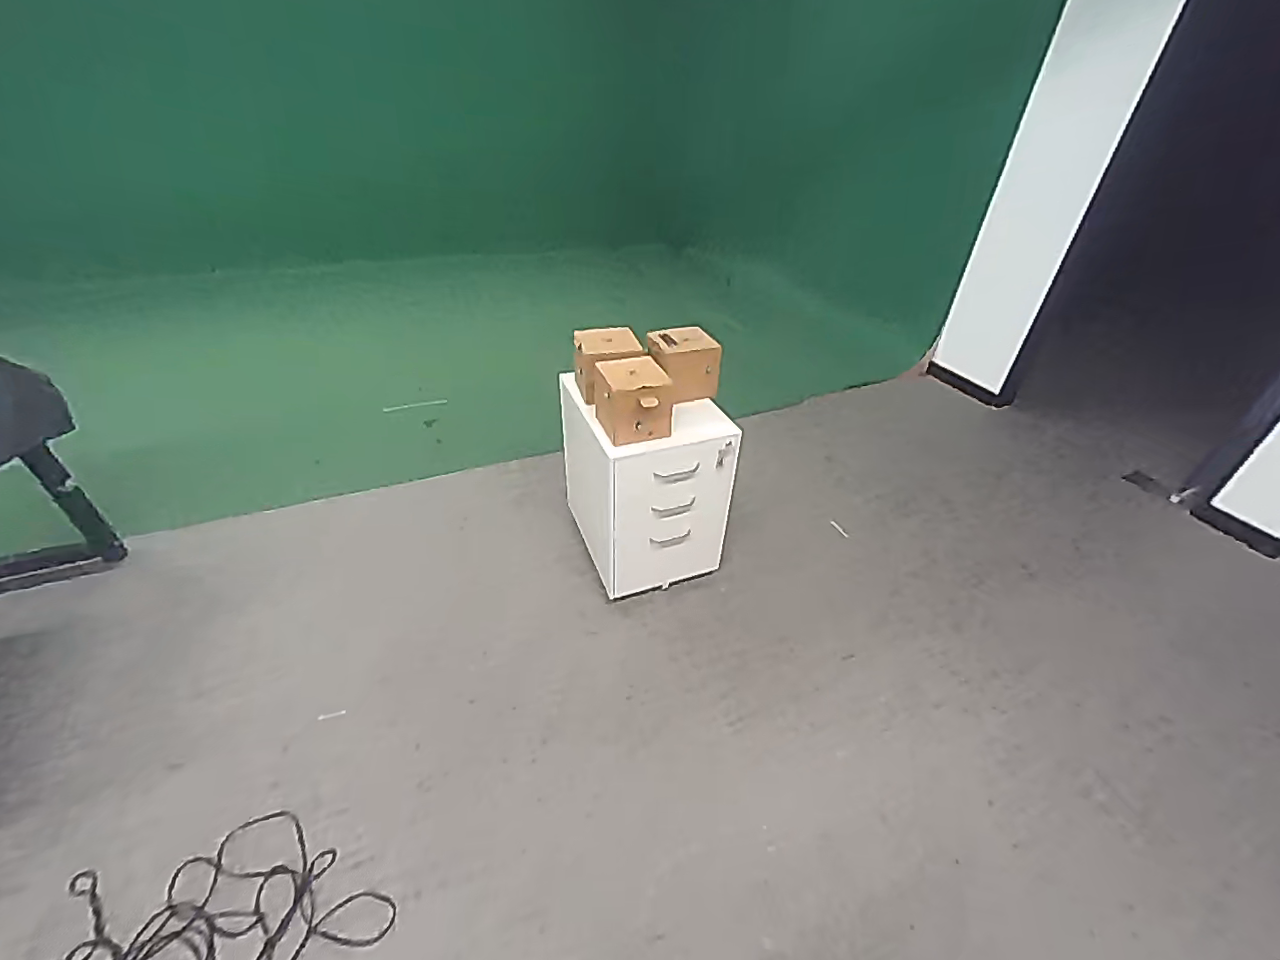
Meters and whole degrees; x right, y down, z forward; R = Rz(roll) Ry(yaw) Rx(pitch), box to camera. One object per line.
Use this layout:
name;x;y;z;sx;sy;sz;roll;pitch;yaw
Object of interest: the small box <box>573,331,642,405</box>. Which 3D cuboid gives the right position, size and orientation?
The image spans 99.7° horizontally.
small box;-0.100;-0.338;1.640;0.179;0.176;0.168;-8;40;-16
